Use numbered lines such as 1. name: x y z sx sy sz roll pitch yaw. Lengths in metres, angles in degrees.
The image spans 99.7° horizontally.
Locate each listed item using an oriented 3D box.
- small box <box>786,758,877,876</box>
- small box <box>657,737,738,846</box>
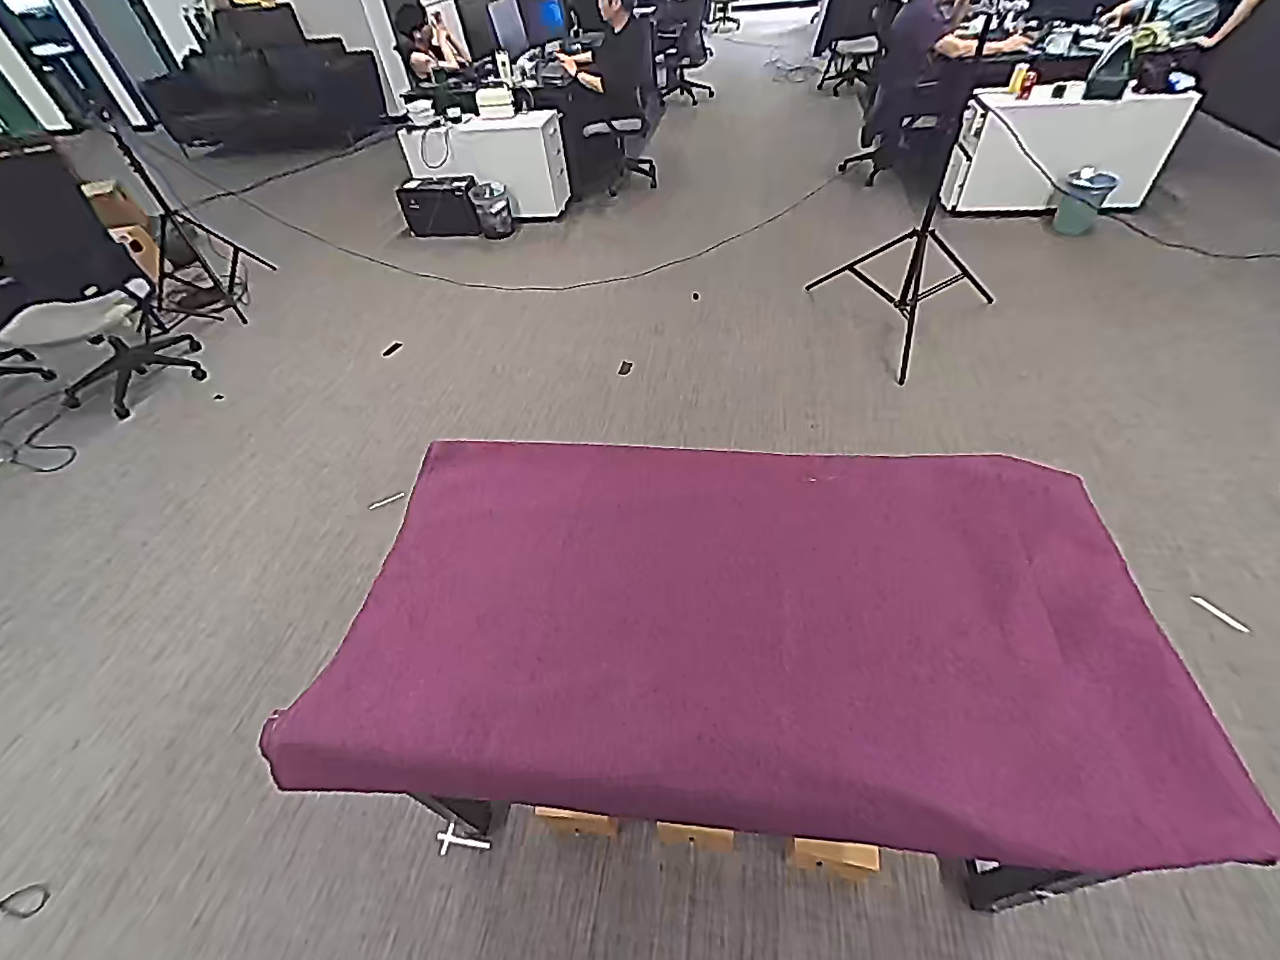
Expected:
1. small box: 0.421 0.755 1.206 0.168 0.176 0.179 6 47 12
2. small box: 0.138 0.728 1.259 0.168 0.176 0.179 4 47 10
